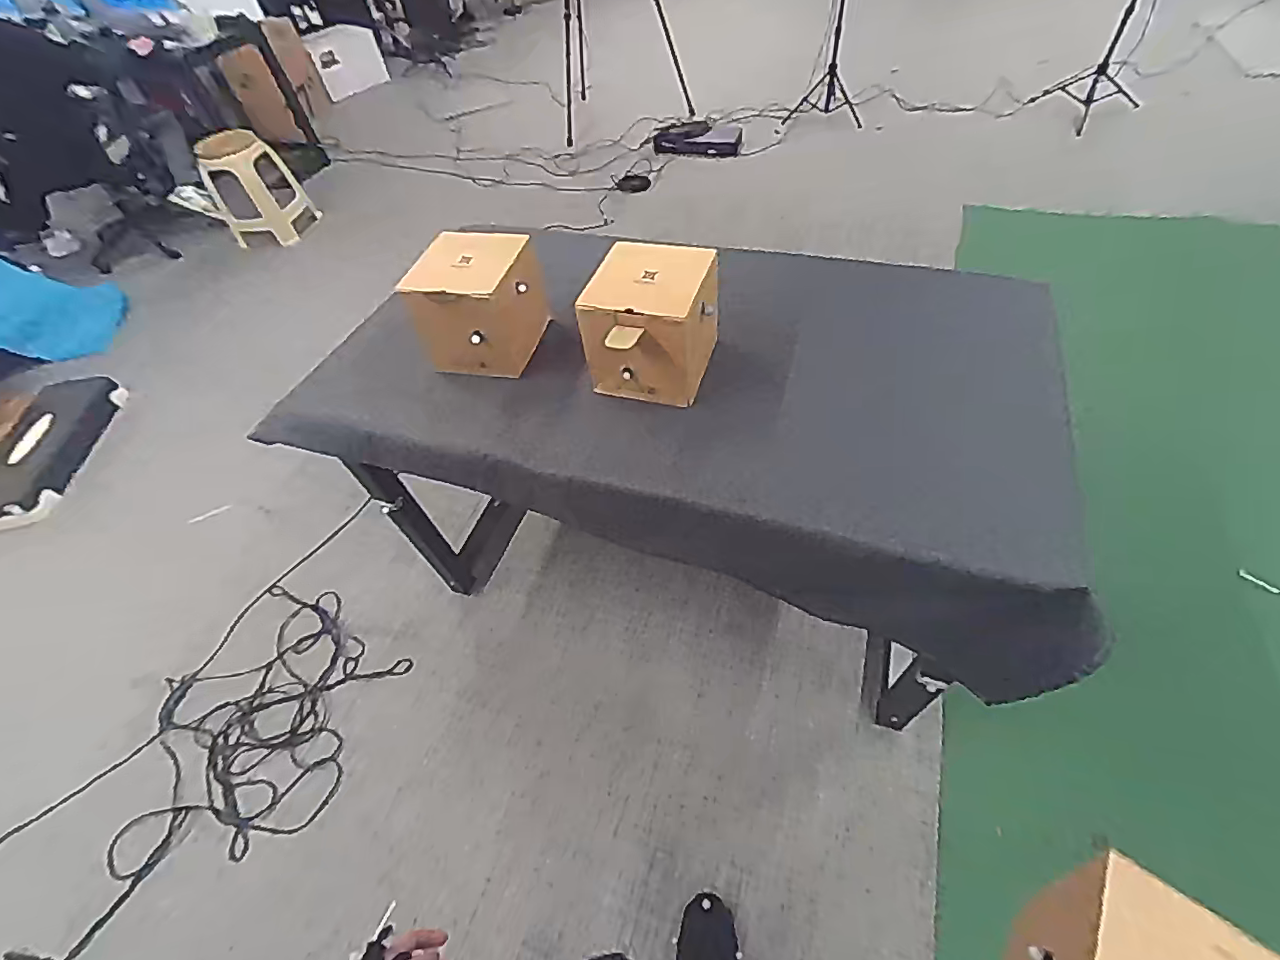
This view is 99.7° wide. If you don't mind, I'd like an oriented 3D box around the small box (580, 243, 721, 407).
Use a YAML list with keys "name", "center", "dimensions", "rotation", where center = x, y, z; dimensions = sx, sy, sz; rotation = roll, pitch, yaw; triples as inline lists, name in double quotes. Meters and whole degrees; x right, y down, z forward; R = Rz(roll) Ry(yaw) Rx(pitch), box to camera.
- name: "small box"
  center: [0.024, -0.243, 0.849]
  dimensions: [0.168, 0.176, 0.179]
  rotation: [12, 55, 16]

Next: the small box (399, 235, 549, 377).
- name: "small box"
  center: [-0.269, -0.297, 0.929]
  dimensions: [0.168, 0.176, 0.179]
  rotation: [8, 53, 11]
